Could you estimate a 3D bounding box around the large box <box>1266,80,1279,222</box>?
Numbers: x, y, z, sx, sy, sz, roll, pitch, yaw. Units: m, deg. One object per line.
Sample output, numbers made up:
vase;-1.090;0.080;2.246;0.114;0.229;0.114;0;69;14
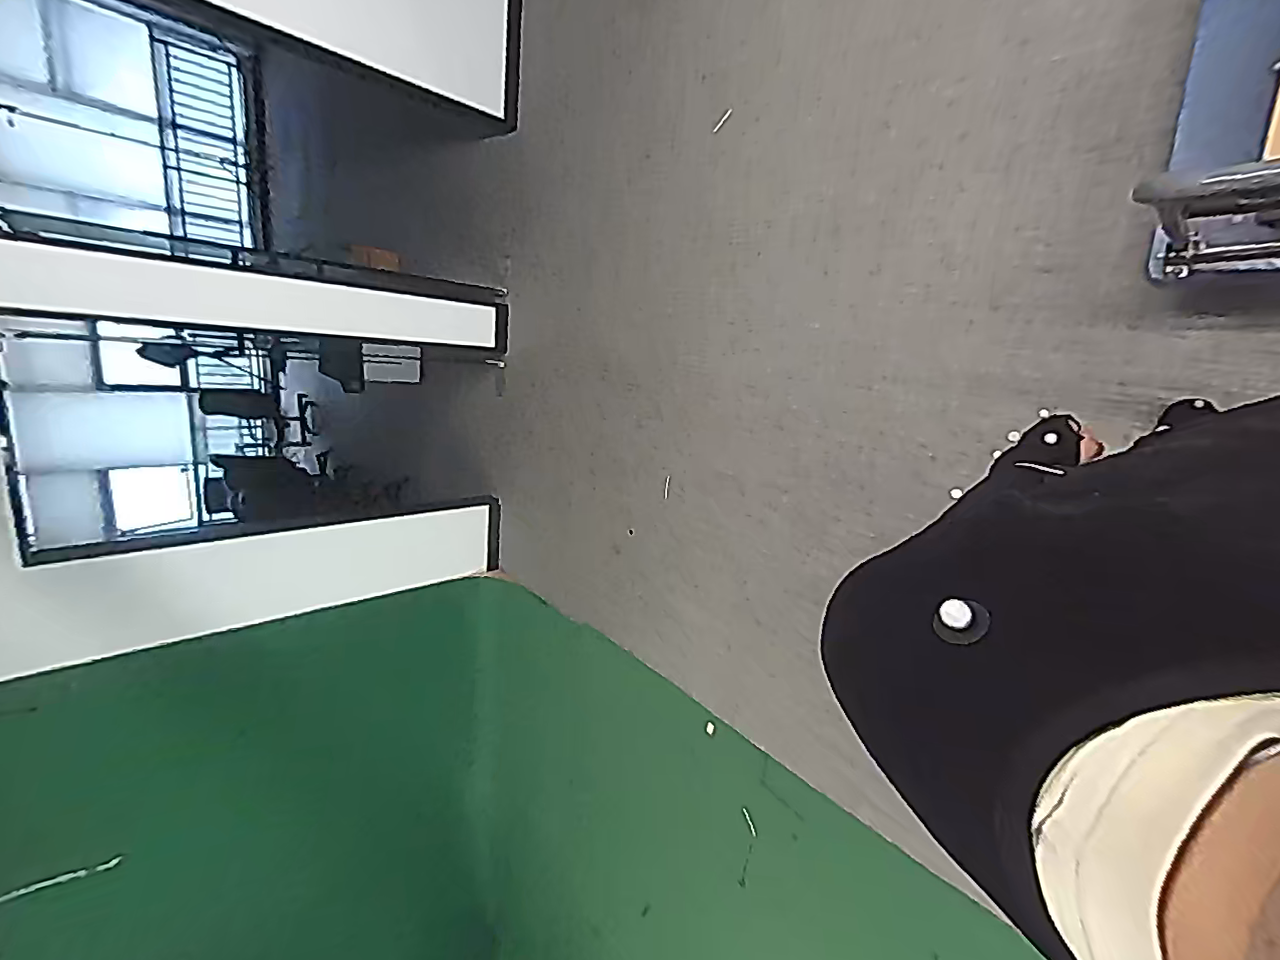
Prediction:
large box;1.106;-0.617;0.719;0.320;0.320;0.408;14;104;46
